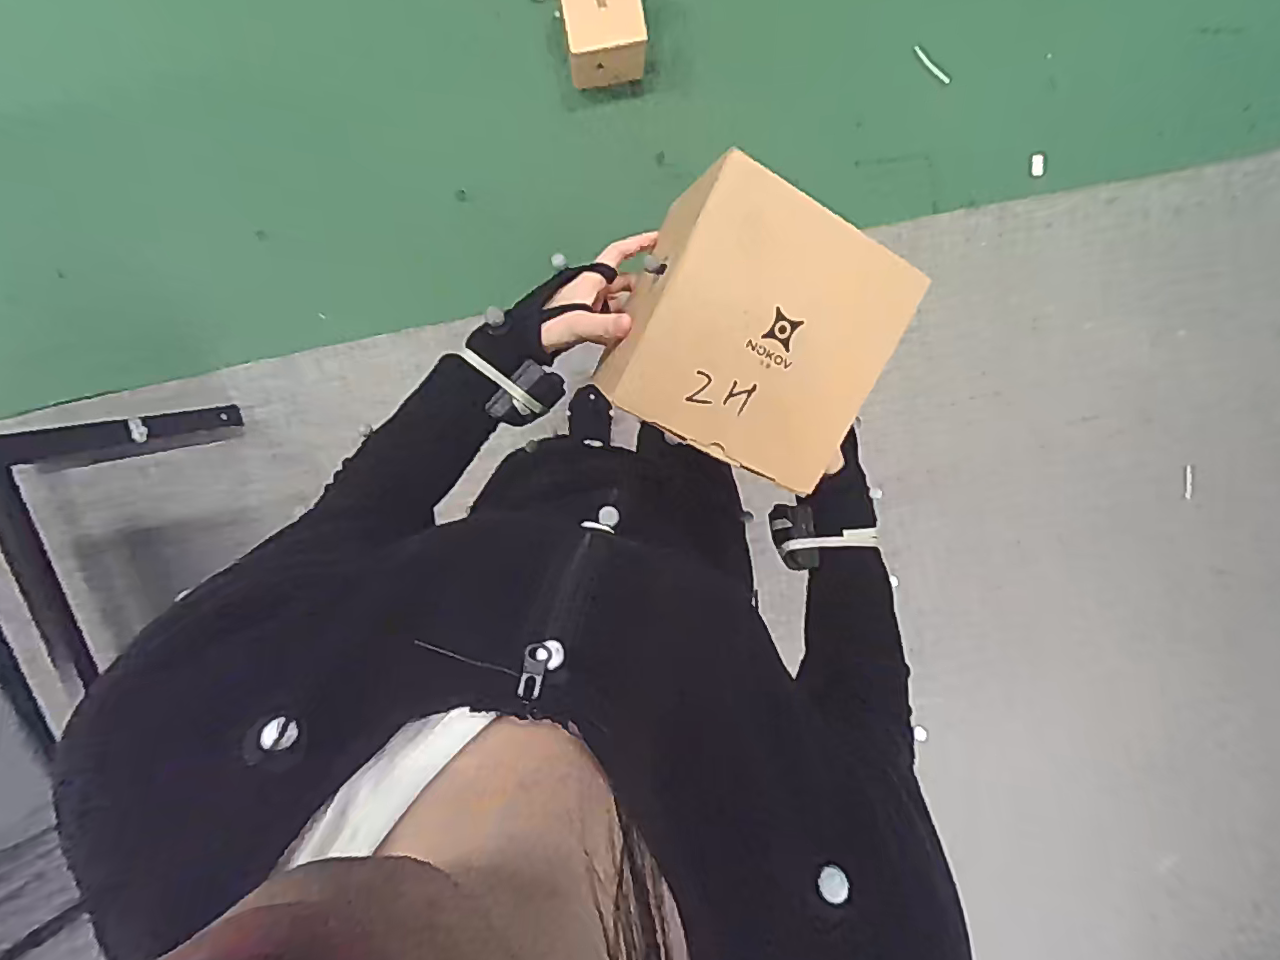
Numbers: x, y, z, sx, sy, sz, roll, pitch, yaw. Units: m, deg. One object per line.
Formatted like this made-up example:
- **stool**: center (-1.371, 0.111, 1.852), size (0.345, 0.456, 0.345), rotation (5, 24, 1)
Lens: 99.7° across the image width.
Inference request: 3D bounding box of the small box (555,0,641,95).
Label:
- **small box**: center (-0.093, -0.994, 1.204), size (0.168, 0.176, 0.179), rotation (-11, 102, -1)

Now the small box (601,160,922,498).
- **small box**: center (0.077, -0.114, 0.448), size (0.168, 0.176, 0.179), rotation (25, 100, -15)
